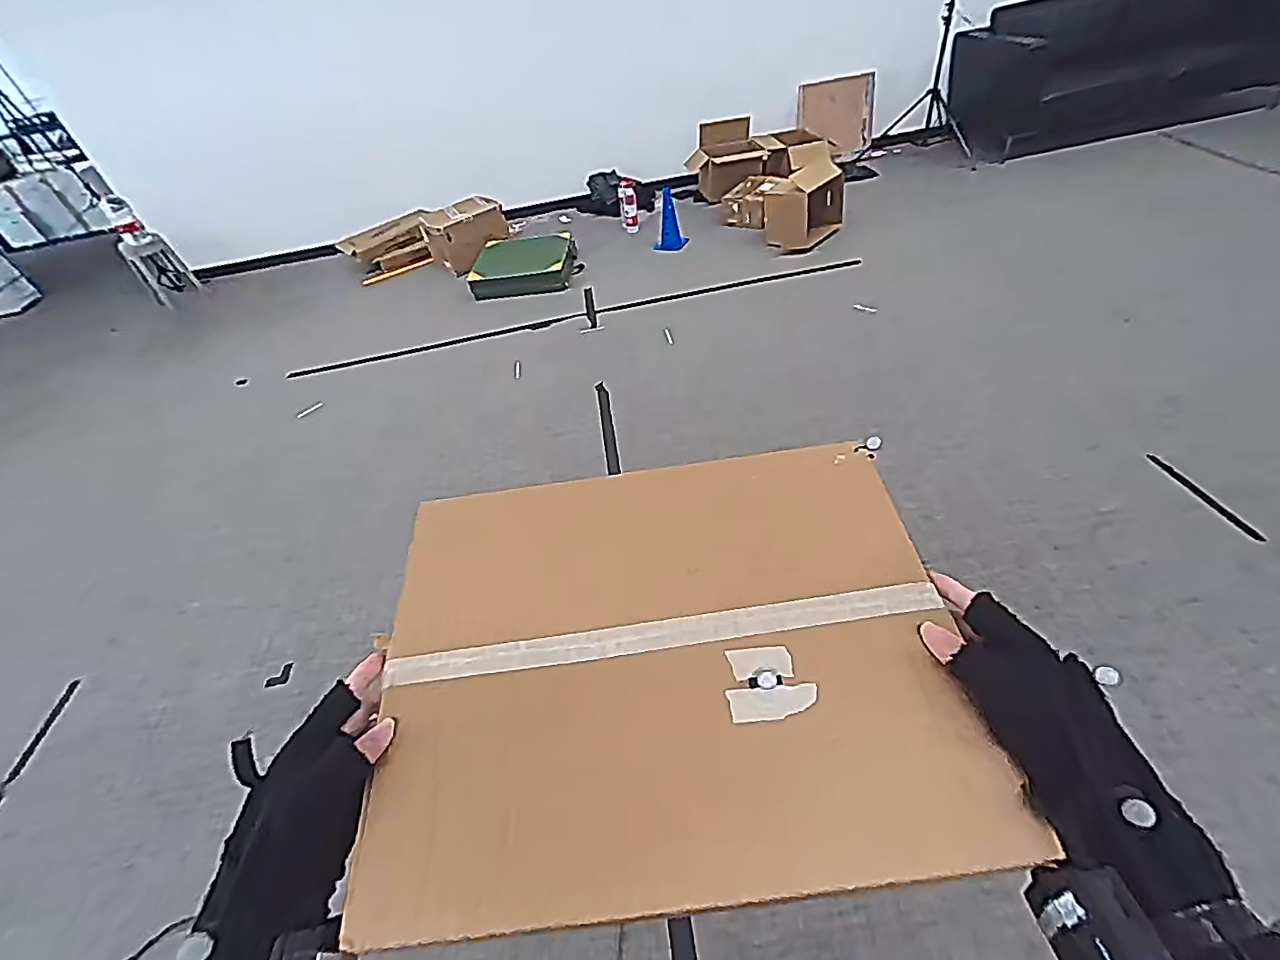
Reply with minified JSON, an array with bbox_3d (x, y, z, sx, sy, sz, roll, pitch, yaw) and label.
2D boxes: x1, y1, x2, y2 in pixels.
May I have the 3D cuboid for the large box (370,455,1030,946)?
[{"bbox_3d":[0.031,0.215,0.523,0.408,0.320,0.320,-8,52,0],"label":"large box"}]
